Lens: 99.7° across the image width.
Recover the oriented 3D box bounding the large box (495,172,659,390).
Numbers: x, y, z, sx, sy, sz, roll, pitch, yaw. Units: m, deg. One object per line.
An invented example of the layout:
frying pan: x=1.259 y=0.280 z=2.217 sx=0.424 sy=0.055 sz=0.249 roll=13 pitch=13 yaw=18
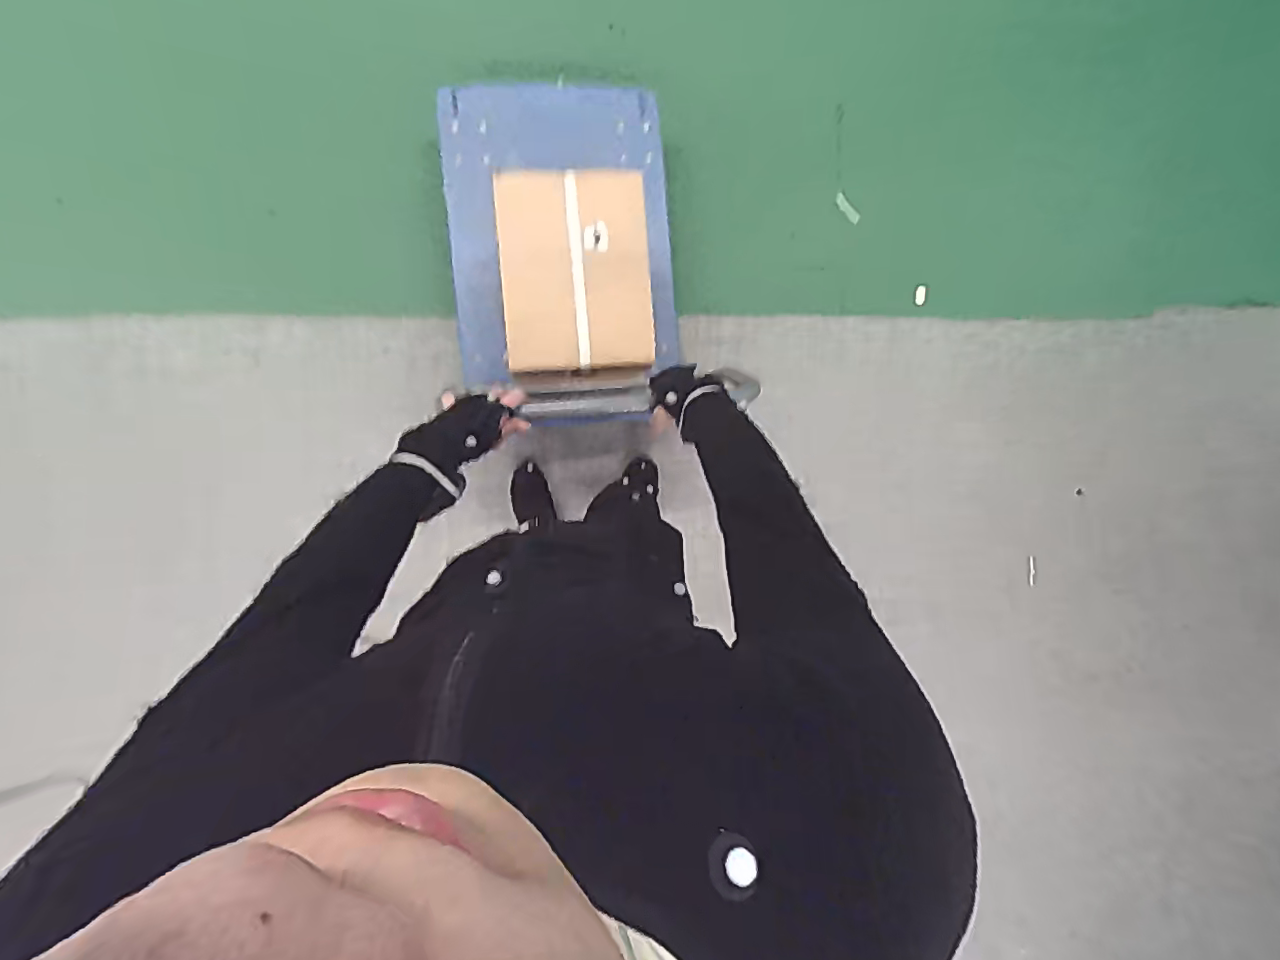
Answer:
large box: x=-0.147 y=-0.441 z=1.272 sx=0.320 sy=0.320 sz=0.408 roll=-5 pitch=93 yaw=-9
